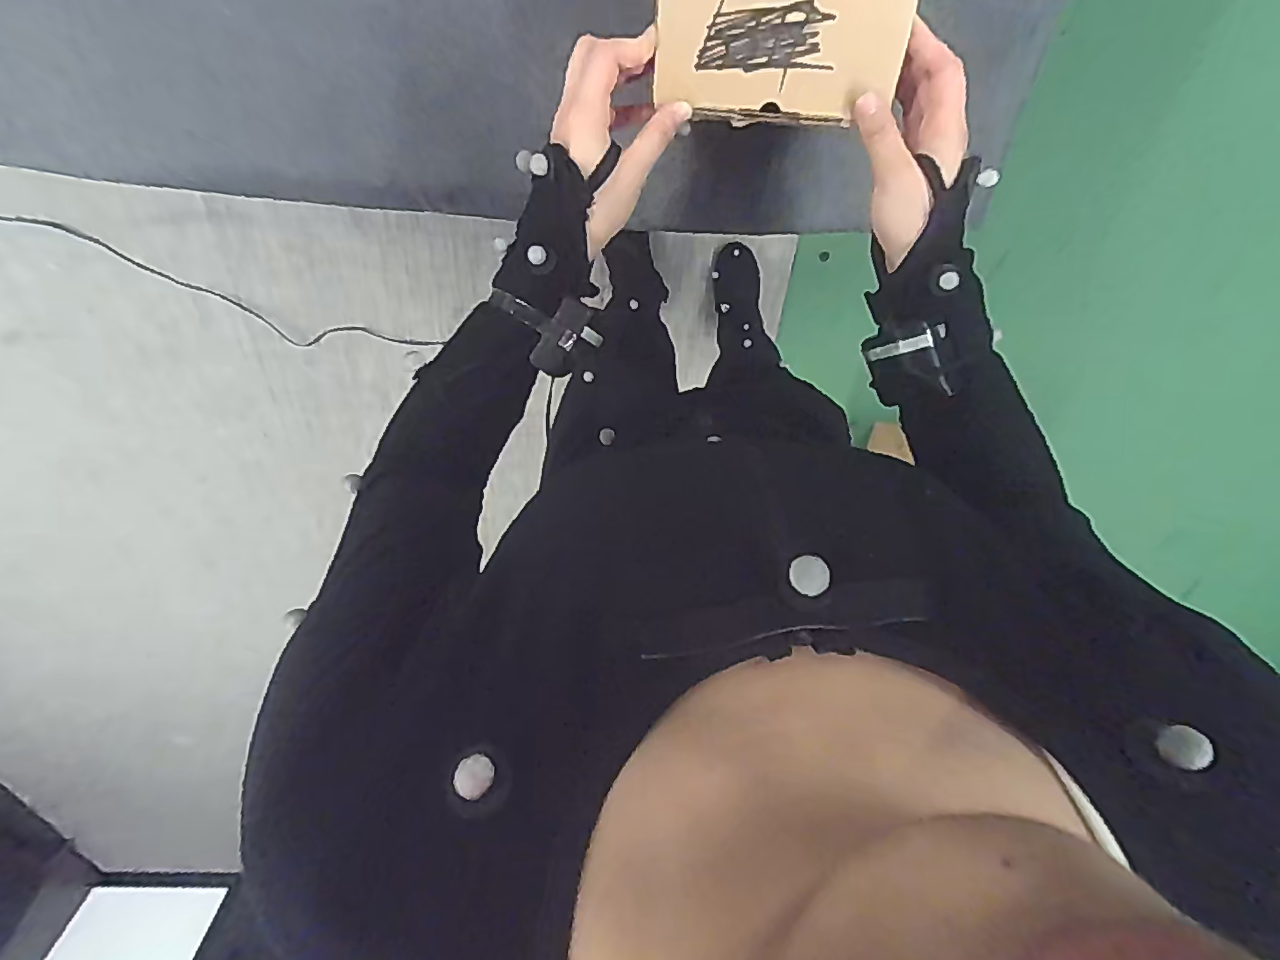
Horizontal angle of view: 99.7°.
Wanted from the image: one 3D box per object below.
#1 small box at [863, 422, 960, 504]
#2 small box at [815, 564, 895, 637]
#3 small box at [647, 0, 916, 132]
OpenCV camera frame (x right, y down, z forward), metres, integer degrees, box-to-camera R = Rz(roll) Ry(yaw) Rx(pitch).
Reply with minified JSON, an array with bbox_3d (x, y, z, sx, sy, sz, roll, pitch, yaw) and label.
[{"bbox_3d":[0.746,-0.049,1.511,0.168,0.176,0.179,3,125,-2],"label":"small box"},{"bbox_3d":[0.718,0.403,1.830,0.179,0.176,0.168,9,125,-7],"label":"small box"},{"bbox_3d":[0.094,-0.363,0.393,0.168,0.176,0.179,3,122,-2],"label":"small box"}]
